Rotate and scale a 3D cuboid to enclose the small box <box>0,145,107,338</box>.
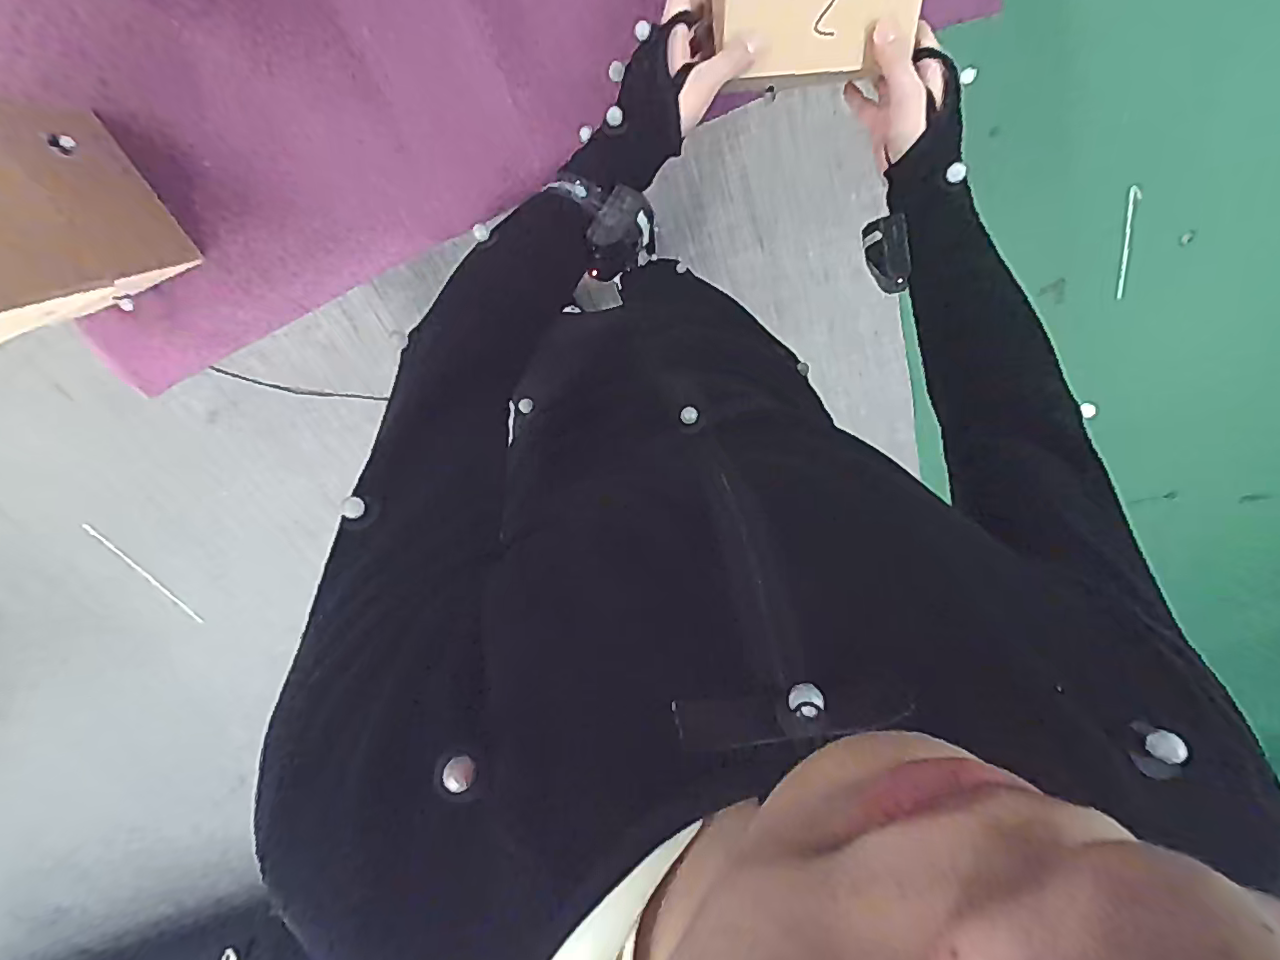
[{"bbox_3d":[-0.629,-0.199,0.449,0.168,0.176,0.179,-20,119,6],"label":"small box"}]

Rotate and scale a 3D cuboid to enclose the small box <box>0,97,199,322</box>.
[{"bbox_3d":[-0.652,-0.284,0.585,0.168,0.176,0.179,-21,120,6],"label":"small box"}]
